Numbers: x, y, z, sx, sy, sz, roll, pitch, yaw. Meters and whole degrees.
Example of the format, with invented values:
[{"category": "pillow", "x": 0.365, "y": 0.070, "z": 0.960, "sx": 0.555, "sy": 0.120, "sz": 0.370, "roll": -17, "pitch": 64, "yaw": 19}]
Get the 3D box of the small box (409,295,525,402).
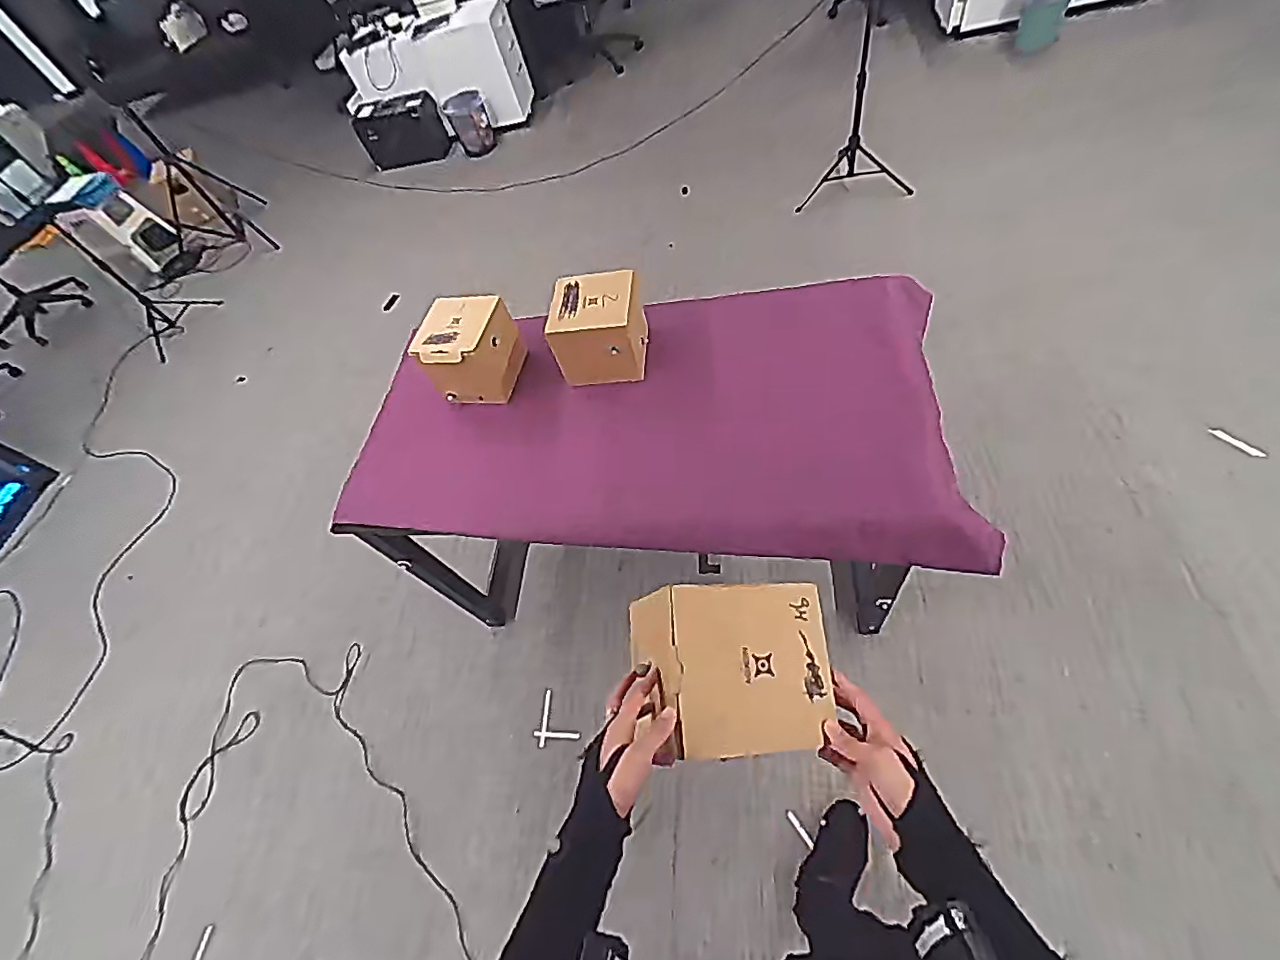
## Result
[{"category": "small box", "x": -0.382, "y": -0.294, "z": 1.233, "sx": 0.168, "sy": 0.176, "sz": 0.179, "roll": 3, "pitch": 60, "yaw": 15}]
